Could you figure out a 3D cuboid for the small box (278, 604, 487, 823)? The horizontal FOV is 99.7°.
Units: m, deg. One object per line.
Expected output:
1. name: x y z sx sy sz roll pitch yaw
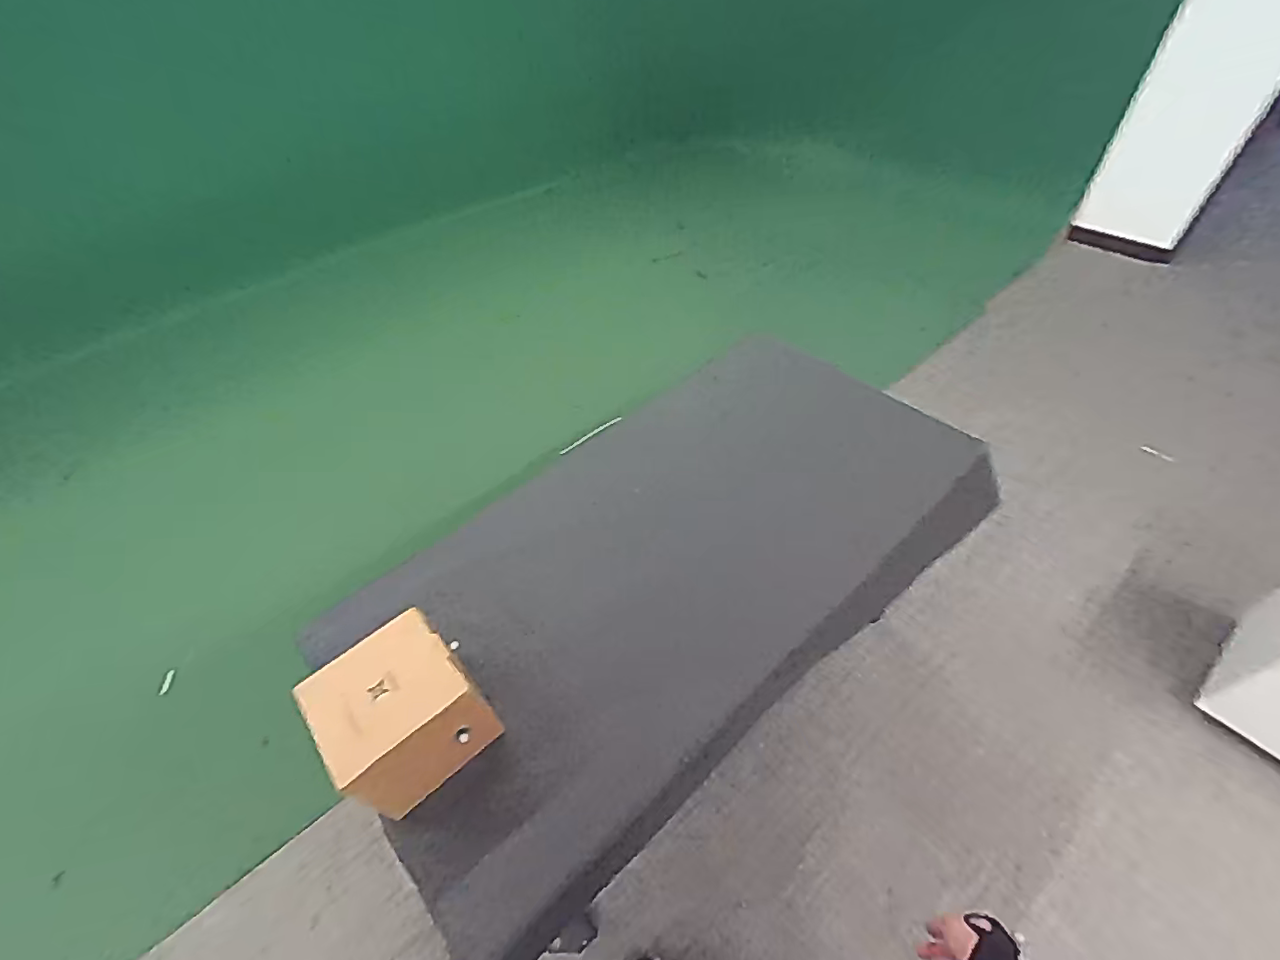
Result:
1. small box: -0.322 0.306 0.713 0.179 0.176 0.168 -36 54 -26
